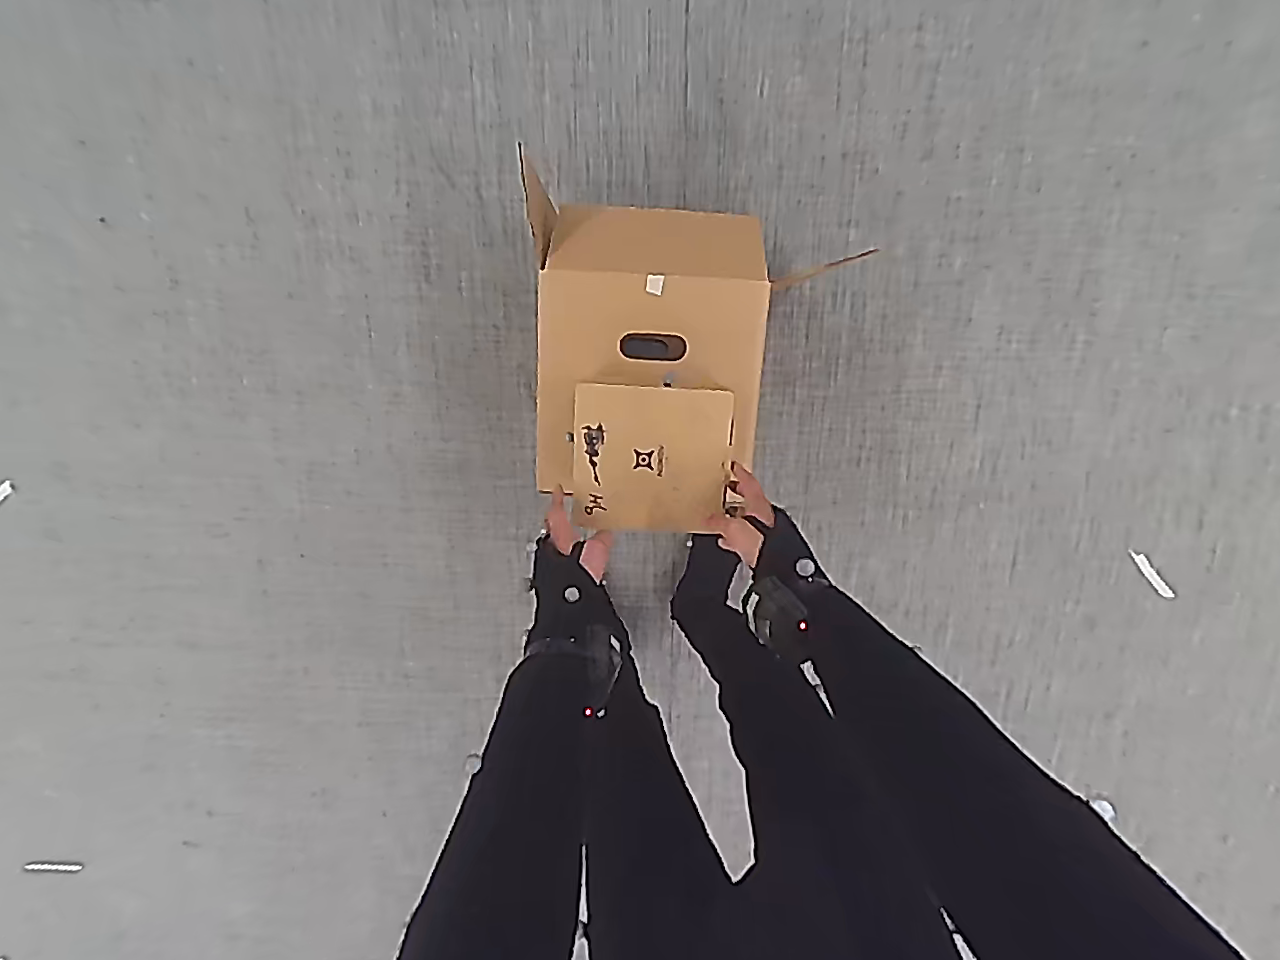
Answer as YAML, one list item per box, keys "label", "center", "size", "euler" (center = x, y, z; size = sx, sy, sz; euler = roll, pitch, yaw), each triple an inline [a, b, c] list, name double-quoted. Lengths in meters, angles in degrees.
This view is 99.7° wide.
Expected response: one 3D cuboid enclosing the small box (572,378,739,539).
- label: "small box"
  center: [0.014, -0.035, 0.671]
  size: [0.179, 0.176, 0.168]
  euler: [3, 104, -1]
